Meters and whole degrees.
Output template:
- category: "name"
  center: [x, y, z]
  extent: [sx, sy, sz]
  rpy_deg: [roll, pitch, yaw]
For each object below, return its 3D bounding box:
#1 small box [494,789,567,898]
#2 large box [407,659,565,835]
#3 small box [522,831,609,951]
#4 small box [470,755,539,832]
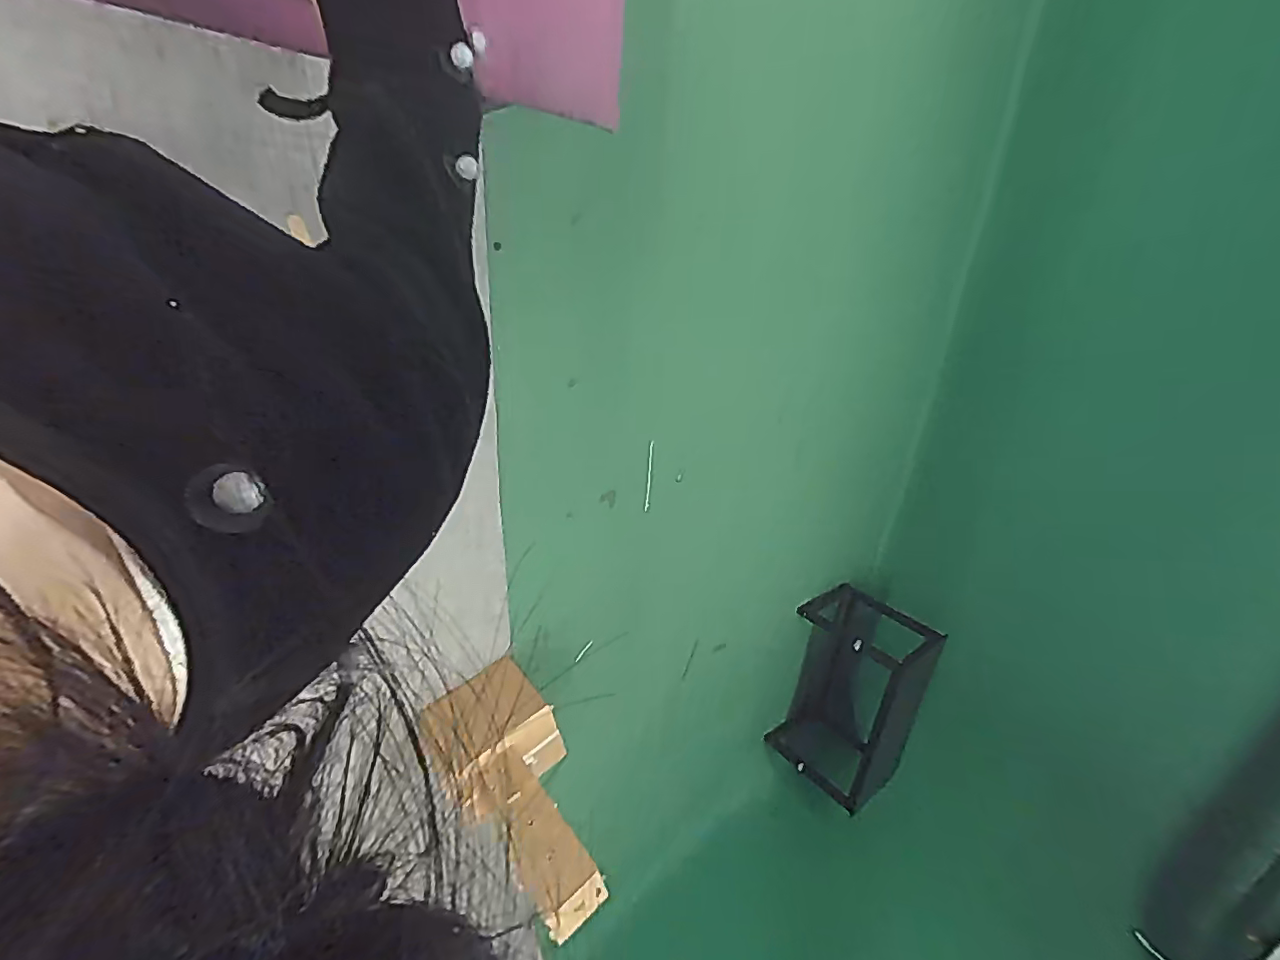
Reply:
- category: "small box"
  center: [-0.321, 1.088, 1.628]
  extent: [0.179, 0.176, 0.168]
  rpy_deg: [-30, 128, -29]
- category: "large box"
  center: [-0.545, 0.938, 1.938]
  extent: [0.408, 0.320, 0.320]
  rpy_deg: [-31, 129, -30]
- category: "small box"
  center: [-0.214, 1.144, 1.516]
  extent: [0.179, 0.176, 0.168]
  rpy_deg: [-29, 127, -28]
- category: "small box"
  center: [-0.423, 1.028, 1.741]
  extent: [0.168, 0.176, 0.179]
  rpy_deg: [-29, 127, -29]
